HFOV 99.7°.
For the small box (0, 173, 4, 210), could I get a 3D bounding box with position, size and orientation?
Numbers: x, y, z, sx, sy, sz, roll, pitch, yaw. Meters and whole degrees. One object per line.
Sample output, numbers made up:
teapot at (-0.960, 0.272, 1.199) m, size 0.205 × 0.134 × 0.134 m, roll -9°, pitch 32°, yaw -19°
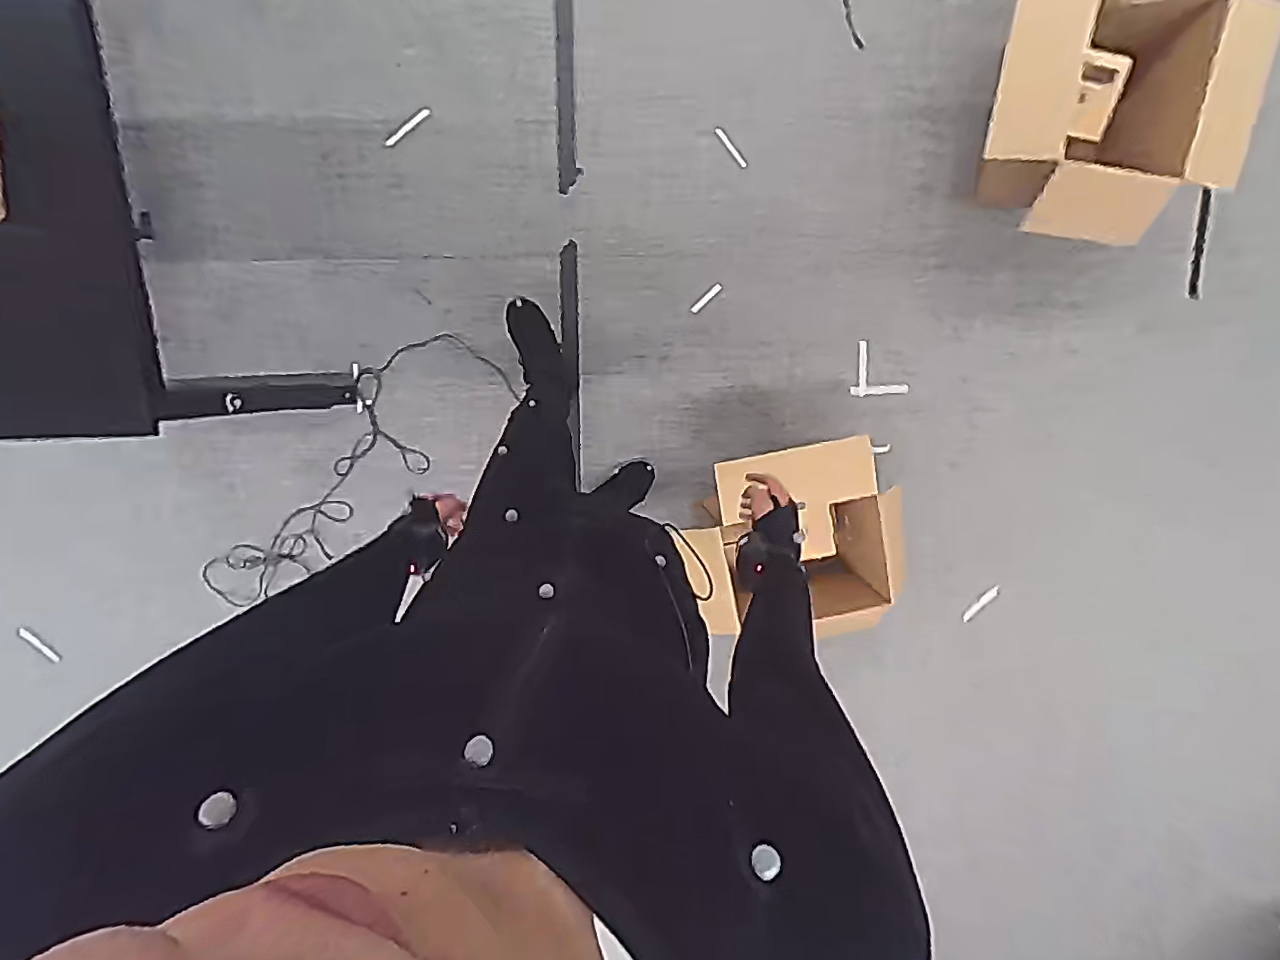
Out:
small box at (-0.969, -0.435, 0.663) m, size 0.179 × 0.176 × 0.168 m, roll 4°, pitch 101°, yaw -3°
